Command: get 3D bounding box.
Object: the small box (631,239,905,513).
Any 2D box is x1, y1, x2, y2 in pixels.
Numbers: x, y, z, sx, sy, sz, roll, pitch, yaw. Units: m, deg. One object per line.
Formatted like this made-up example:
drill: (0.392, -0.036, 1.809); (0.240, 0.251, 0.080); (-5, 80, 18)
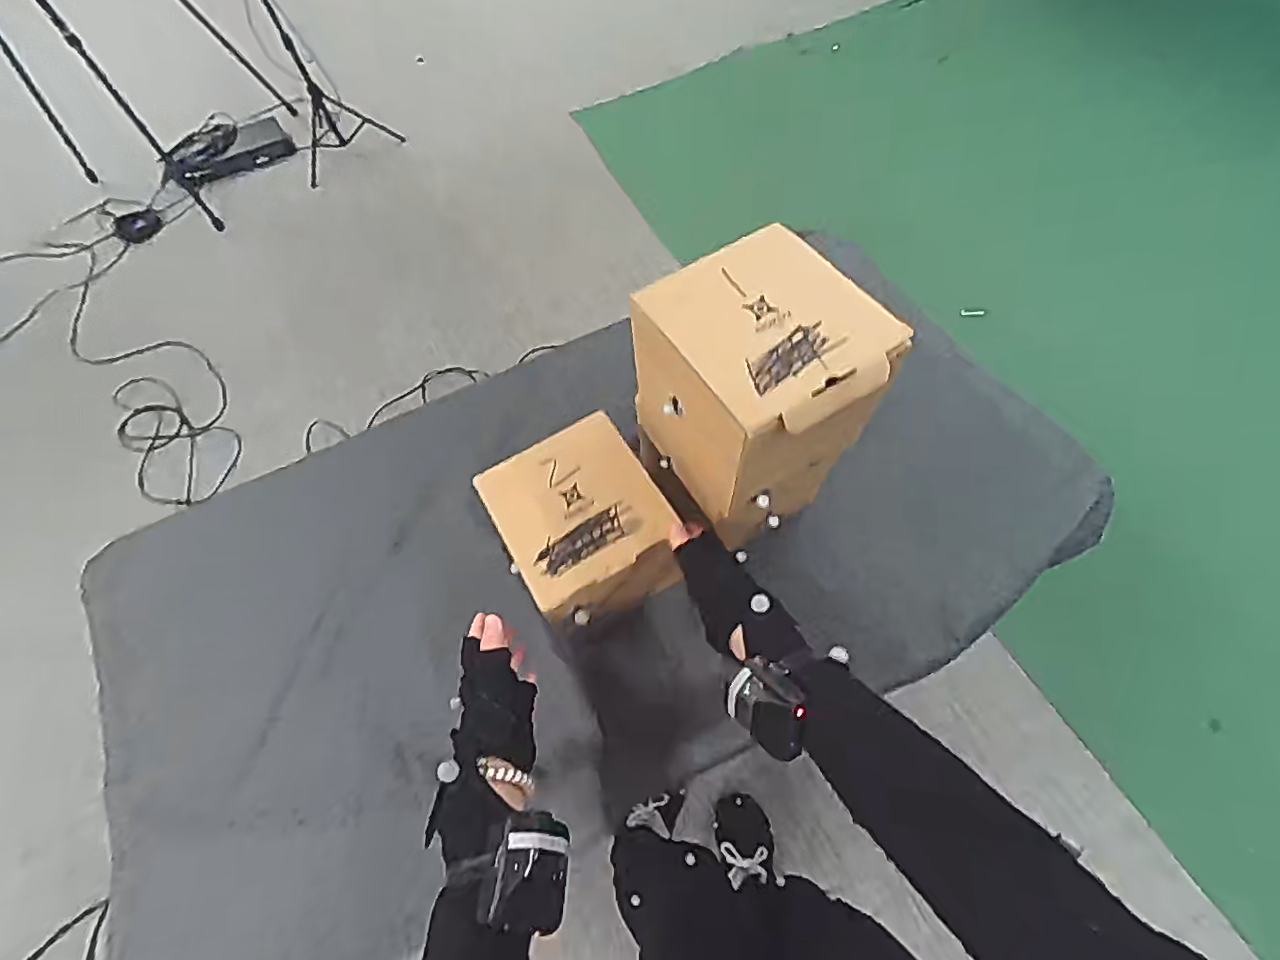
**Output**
small box: (0.110, -0.088, 0.529); (0.168, 0.176, 0.179); (-29, 64, -11)
